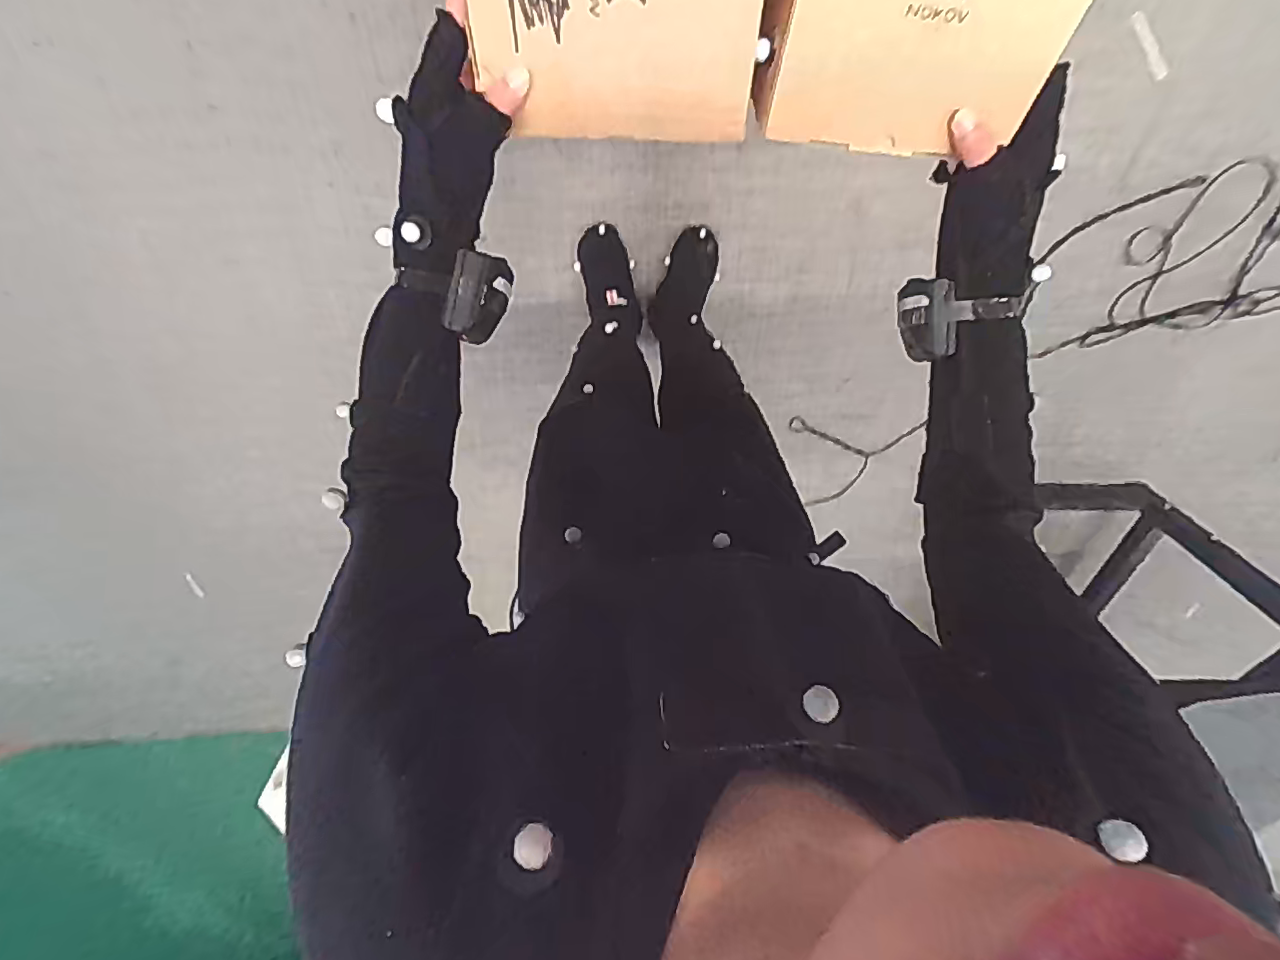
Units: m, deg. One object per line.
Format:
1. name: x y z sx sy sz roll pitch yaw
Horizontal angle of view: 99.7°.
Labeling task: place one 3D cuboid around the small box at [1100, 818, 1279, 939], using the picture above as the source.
1. small box: 1.163 0.851 1.161 0.179 0.176 0.168 1 124 -2
